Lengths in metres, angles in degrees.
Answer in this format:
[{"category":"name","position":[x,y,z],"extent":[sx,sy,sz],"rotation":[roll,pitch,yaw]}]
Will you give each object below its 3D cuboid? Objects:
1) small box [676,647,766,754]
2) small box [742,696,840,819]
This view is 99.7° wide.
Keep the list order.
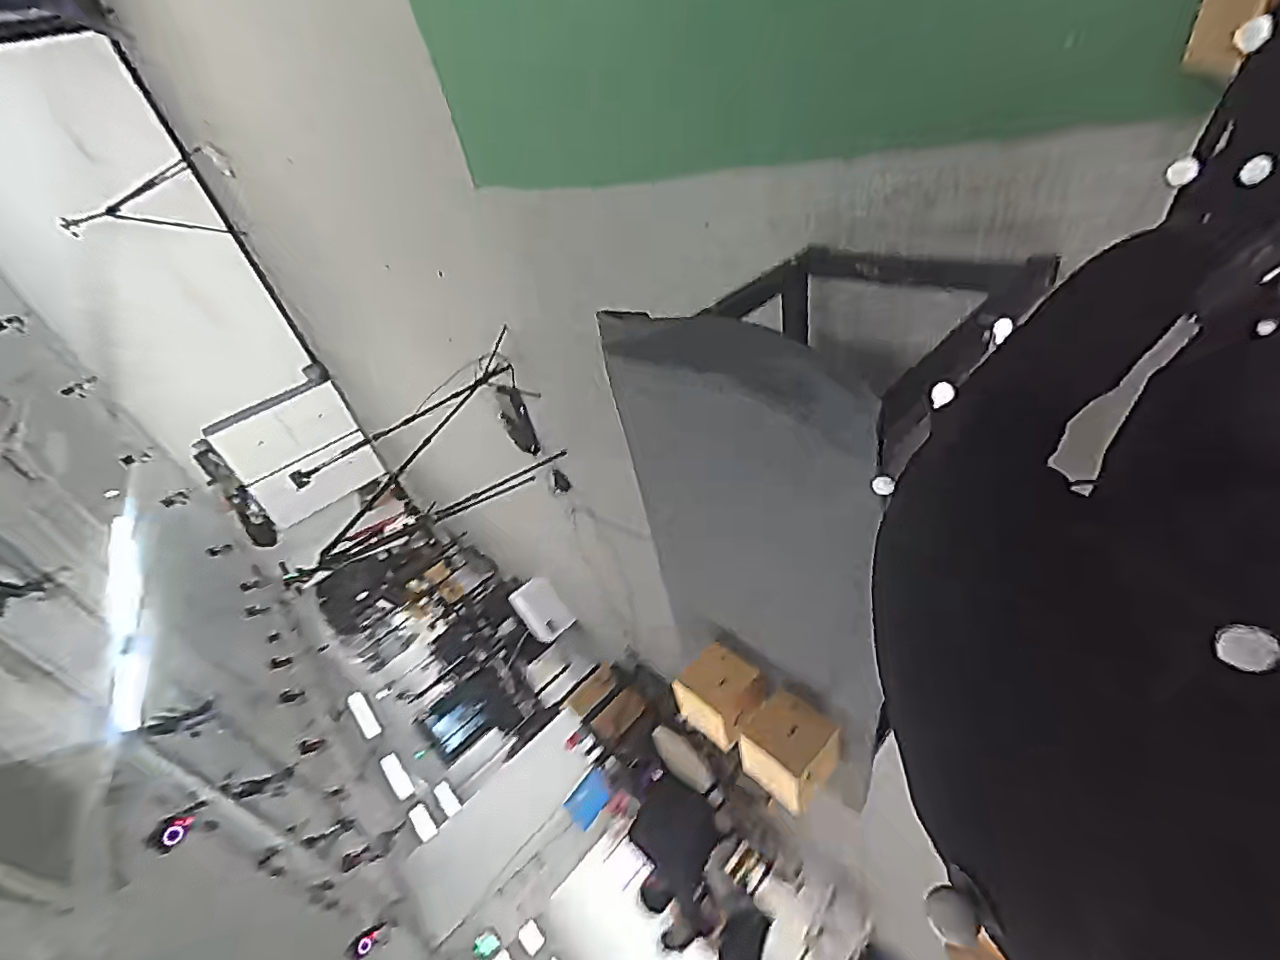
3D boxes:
[{"category":"small box","position":[0.226,0.594,1.476],"extent":[0.168,0.176,0.179],"rotation":[24,141,43]},{"category":"small box","position":[0.372,0.670,1.325],"extent":[0.168,0.176,0.179],"rotation":[27,142,44]}]
